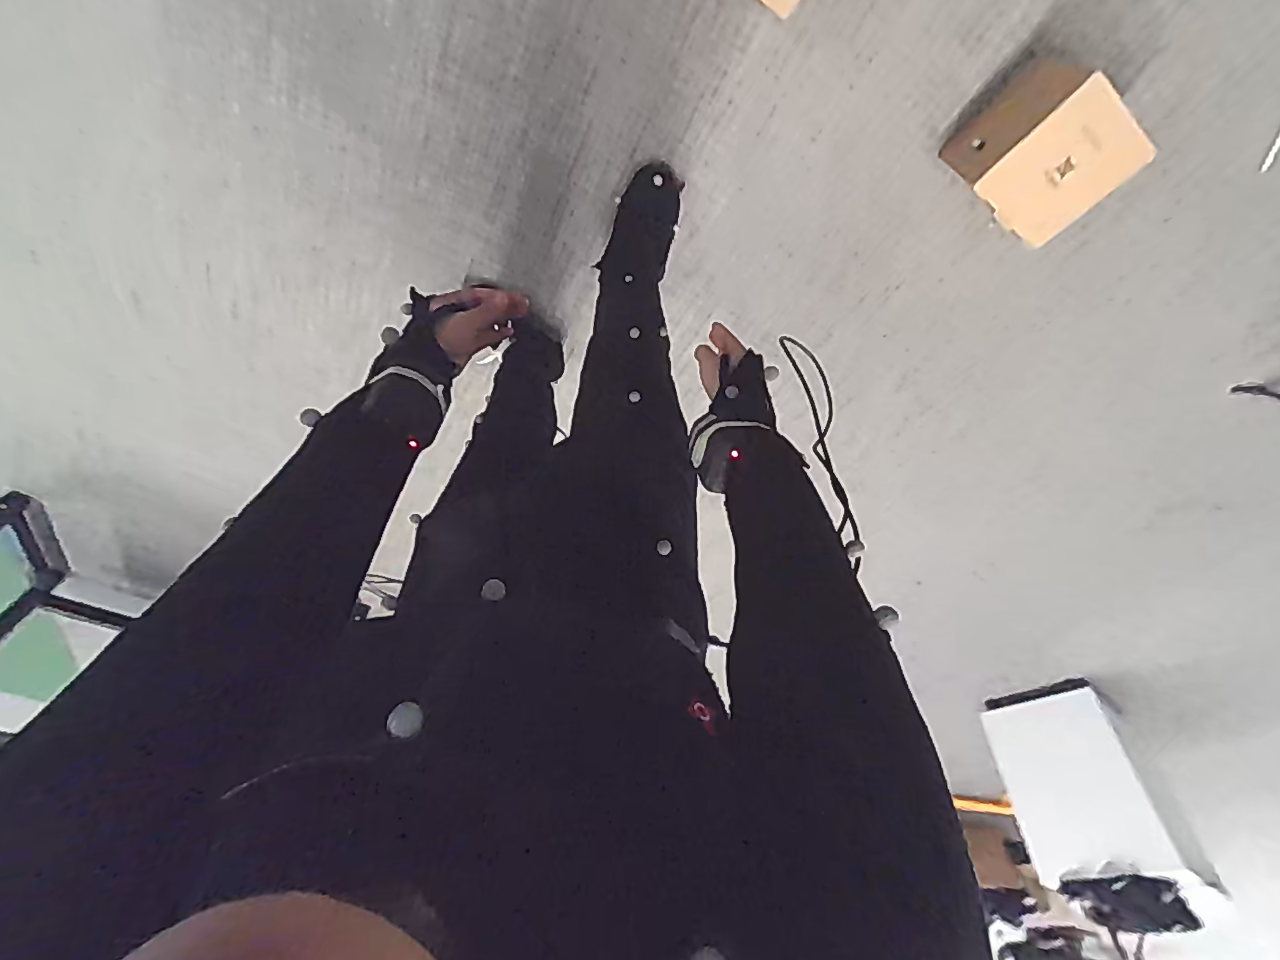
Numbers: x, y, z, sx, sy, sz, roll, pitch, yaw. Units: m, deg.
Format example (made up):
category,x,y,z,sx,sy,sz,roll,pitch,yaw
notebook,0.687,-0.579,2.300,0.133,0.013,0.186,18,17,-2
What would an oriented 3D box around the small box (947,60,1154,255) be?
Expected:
category,x,y,z,sx,sy,sz,roll,pitch,yaw
small box,0.605,-0.492,0.827,0.168,0.176,0.179,29,130,-22
